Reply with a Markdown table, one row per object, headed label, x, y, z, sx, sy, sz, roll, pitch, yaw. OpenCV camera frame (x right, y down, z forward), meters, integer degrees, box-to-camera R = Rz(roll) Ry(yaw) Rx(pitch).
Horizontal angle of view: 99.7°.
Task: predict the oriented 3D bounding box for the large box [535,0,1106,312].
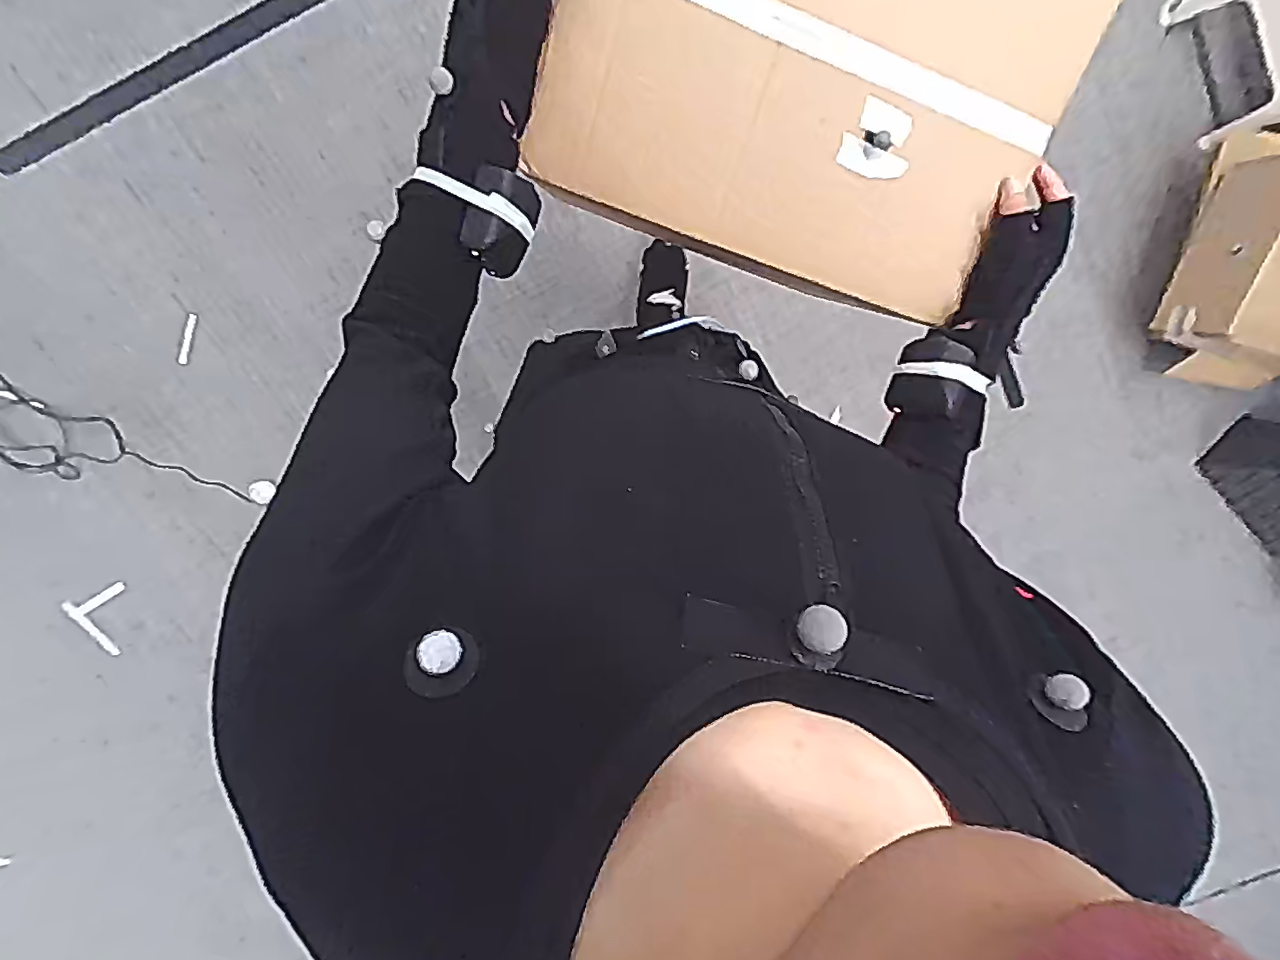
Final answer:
| label | x | y | z | sx | sy | sz | roll | pitch | yaw |
| --- | --- | --- | --- | --- | --- | --- | --- | --- | --- |
| large box | 0.132 | -0.400 | 0.555 | 0.408 | 0.320 | 0.320 | 15 | 113 | -12 |
